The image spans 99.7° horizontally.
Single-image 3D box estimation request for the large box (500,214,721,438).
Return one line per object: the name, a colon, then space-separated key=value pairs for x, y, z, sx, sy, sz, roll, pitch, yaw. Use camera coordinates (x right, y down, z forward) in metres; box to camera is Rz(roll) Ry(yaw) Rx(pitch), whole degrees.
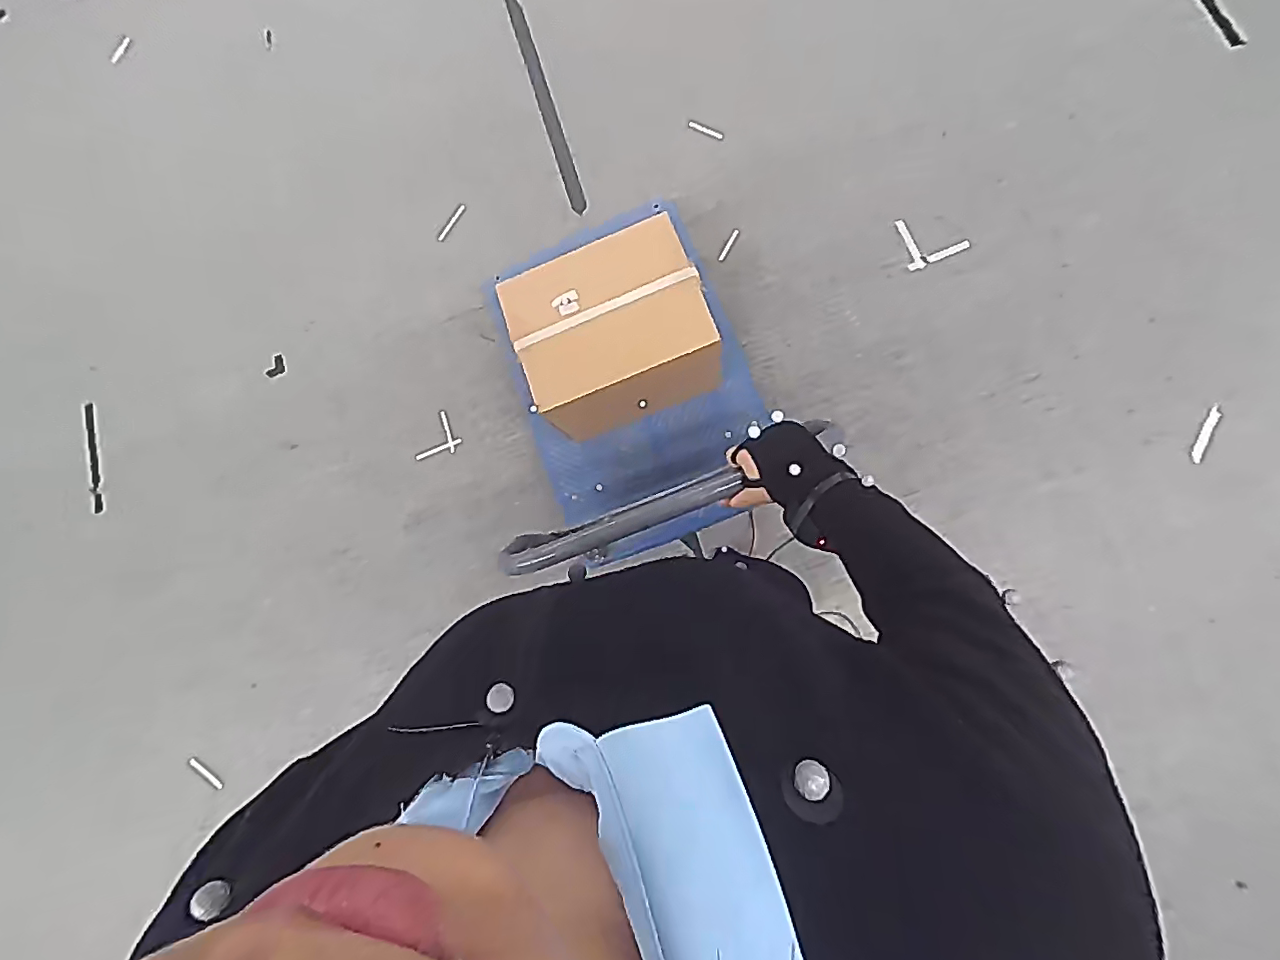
large box: x=-0.050 y=-0.336 z=1.286 sx=0.408 sy=0.320 sz=0.320 roll=-22 pitch=79 yaw=6
